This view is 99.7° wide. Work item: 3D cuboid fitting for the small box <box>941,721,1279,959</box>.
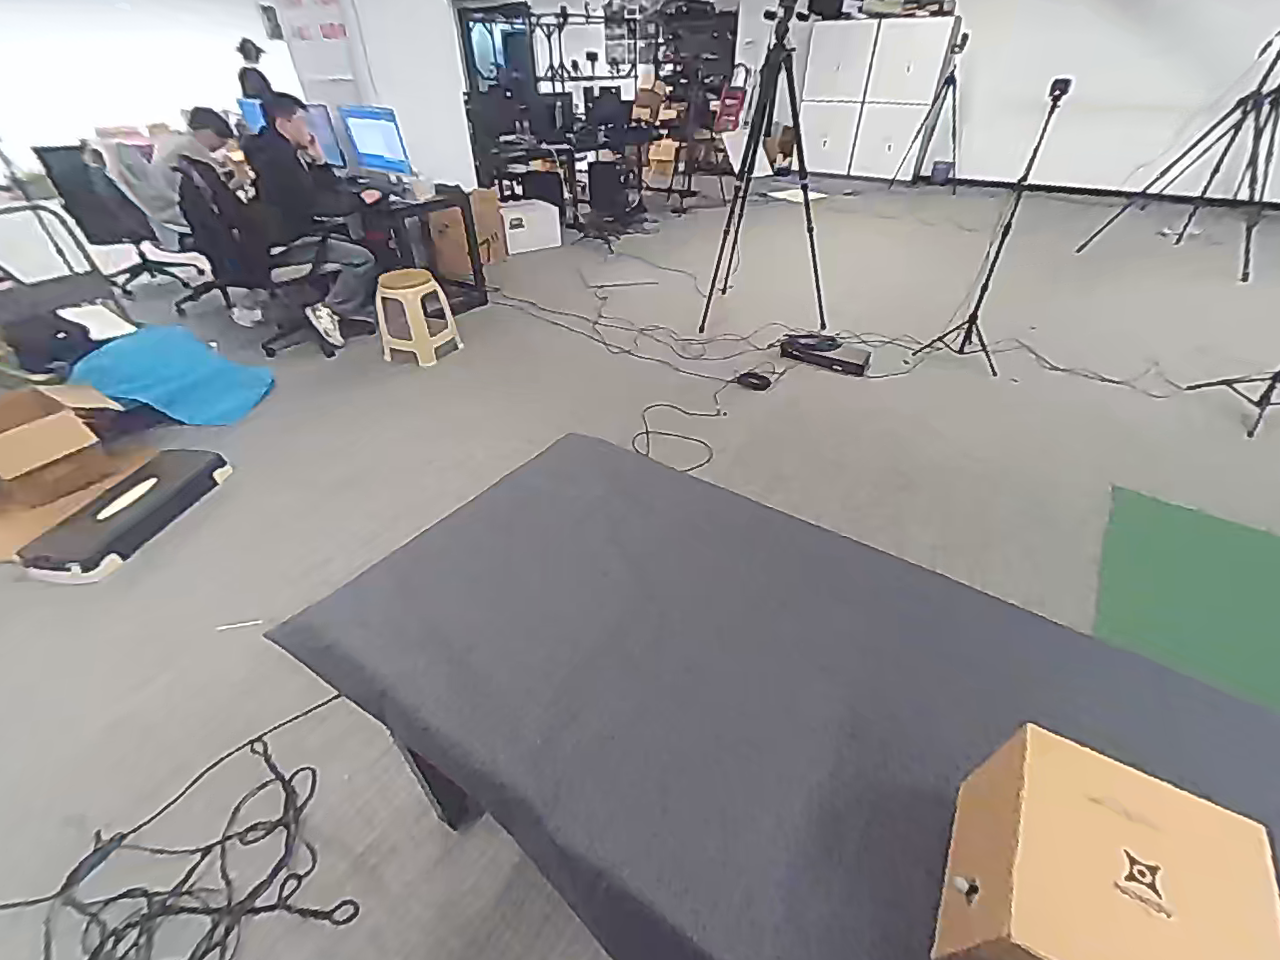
[{"bbox_3d":[0.373,0.349,0.449,0.168,0.176,0.179,21,48,22],"label":"small box"}]
